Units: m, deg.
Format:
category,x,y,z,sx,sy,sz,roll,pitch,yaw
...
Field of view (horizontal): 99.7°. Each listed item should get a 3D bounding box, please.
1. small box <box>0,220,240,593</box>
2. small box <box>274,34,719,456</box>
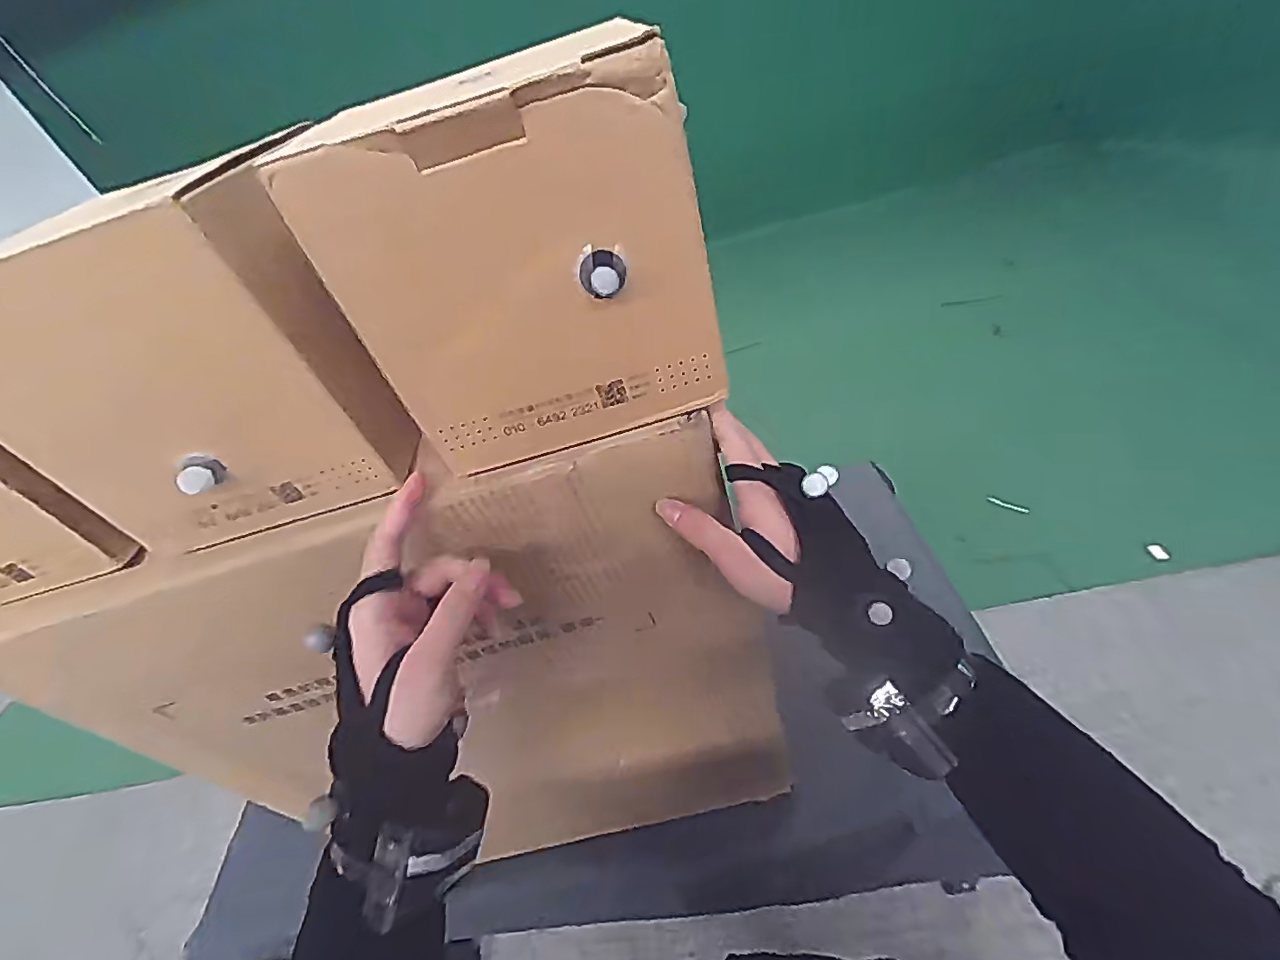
category,x,y,z,sx,sy,sz,roll,pitch,yaw
small box,-0.426,-0.038,0.362,0.168,0.176,0.179,-15,42,6
small box,-0.057,-0.131,0.319,0.168,0.176,0.179,-14,41,3
